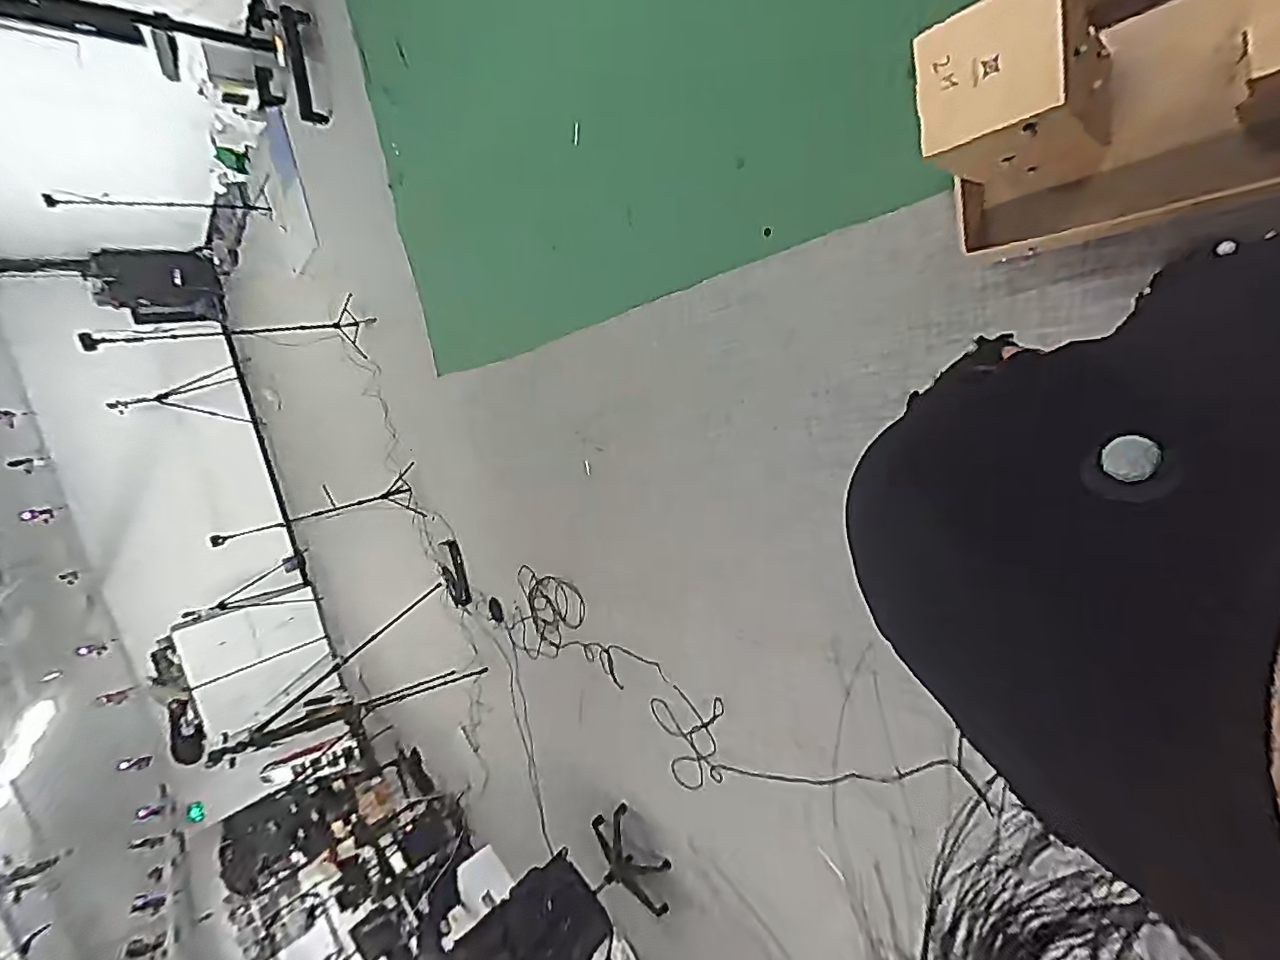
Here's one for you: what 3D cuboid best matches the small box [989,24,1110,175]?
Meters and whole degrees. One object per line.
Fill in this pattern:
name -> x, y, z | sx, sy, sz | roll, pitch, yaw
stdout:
small box -> 0.757, -0.689, 1.007 | 0.168, 0.176, 0.179 | 0, 106, 47

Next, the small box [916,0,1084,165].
small box -> 0.530, -0.588, 0.791 | 0.179, 0.176, 0.168 | 1, 106, 47

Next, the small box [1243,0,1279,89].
small box -> 0.871, -0.616, 0.660 | 0.179, 0.176, 0.168 | 0, 108, 49

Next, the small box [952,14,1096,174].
small box -> 0.639, -0.635, 0.906 | 0.179, 0.176, 0.168 | 1, 107, 46
